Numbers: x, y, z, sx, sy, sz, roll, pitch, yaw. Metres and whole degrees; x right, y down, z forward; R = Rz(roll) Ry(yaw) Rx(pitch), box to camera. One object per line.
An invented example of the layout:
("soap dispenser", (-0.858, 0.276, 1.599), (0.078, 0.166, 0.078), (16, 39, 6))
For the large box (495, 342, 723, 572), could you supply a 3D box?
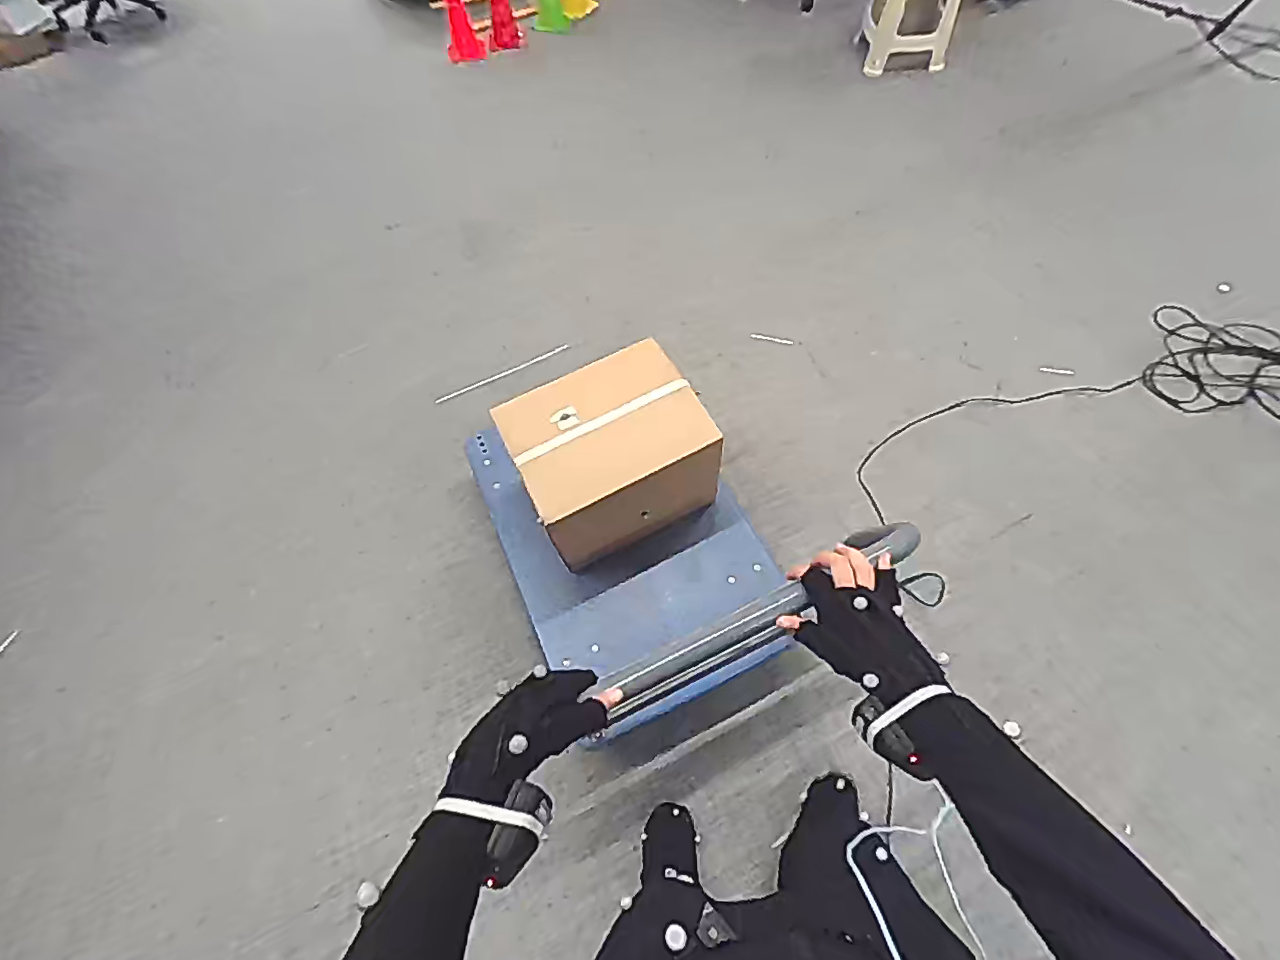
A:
("large box", (-0.060, -0.044, 1.274), (0.408, 0.320, 0.320), (-29, 64, -9))
